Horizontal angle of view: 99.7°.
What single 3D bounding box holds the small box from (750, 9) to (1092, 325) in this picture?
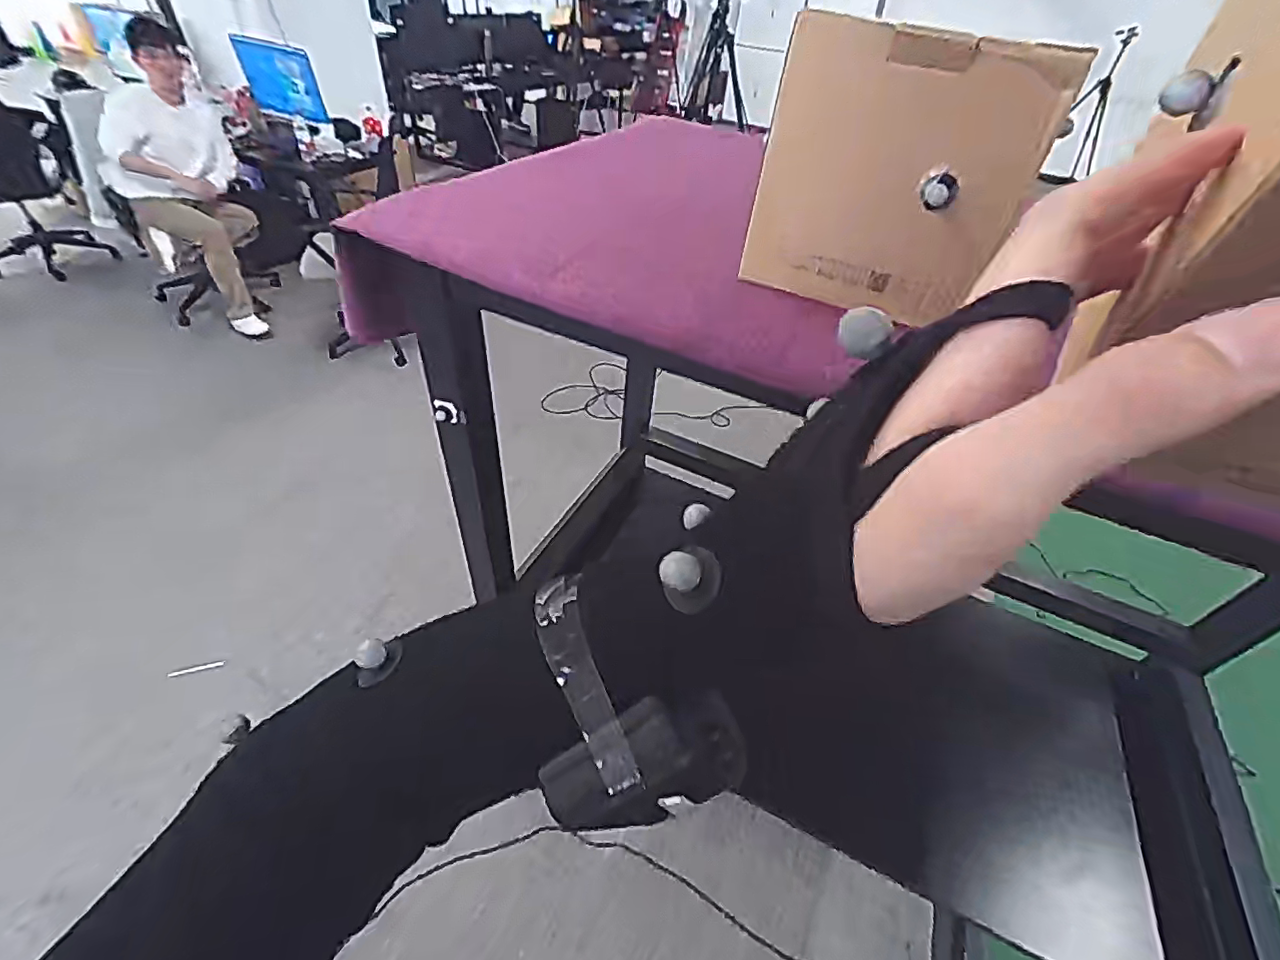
[{"bbox_3d":[0.198,-0.240,0.415,0.168,0.176,0.179,24,44,17],"label":"small box"}]
